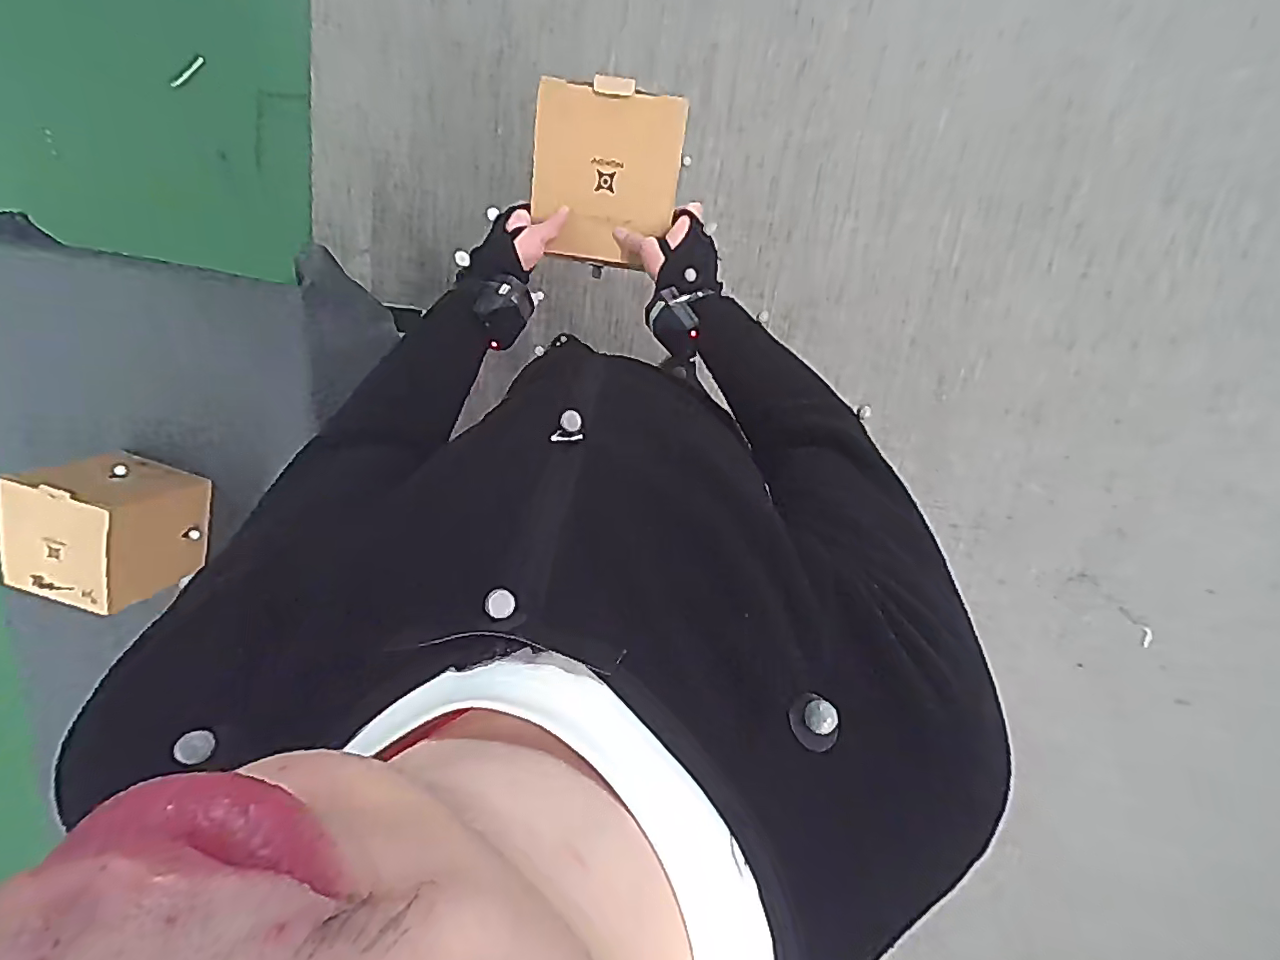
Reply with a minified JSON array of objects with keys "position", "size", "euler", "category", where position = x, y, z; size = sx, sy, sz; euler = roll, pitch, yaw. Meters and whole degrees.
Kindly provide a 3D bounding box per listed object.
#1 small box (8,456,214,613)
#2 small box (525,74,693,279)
[{"position":[-0.819,0.074,0.853],"size":[0.168,0.176,0.179],"euler":[18,105,1],"category":"small box"},{"position":[-0.036,-0.356,0.670],"size":[0.168,0.176,0.179],"euler":[10,109,-1],"category":"small box"}]
